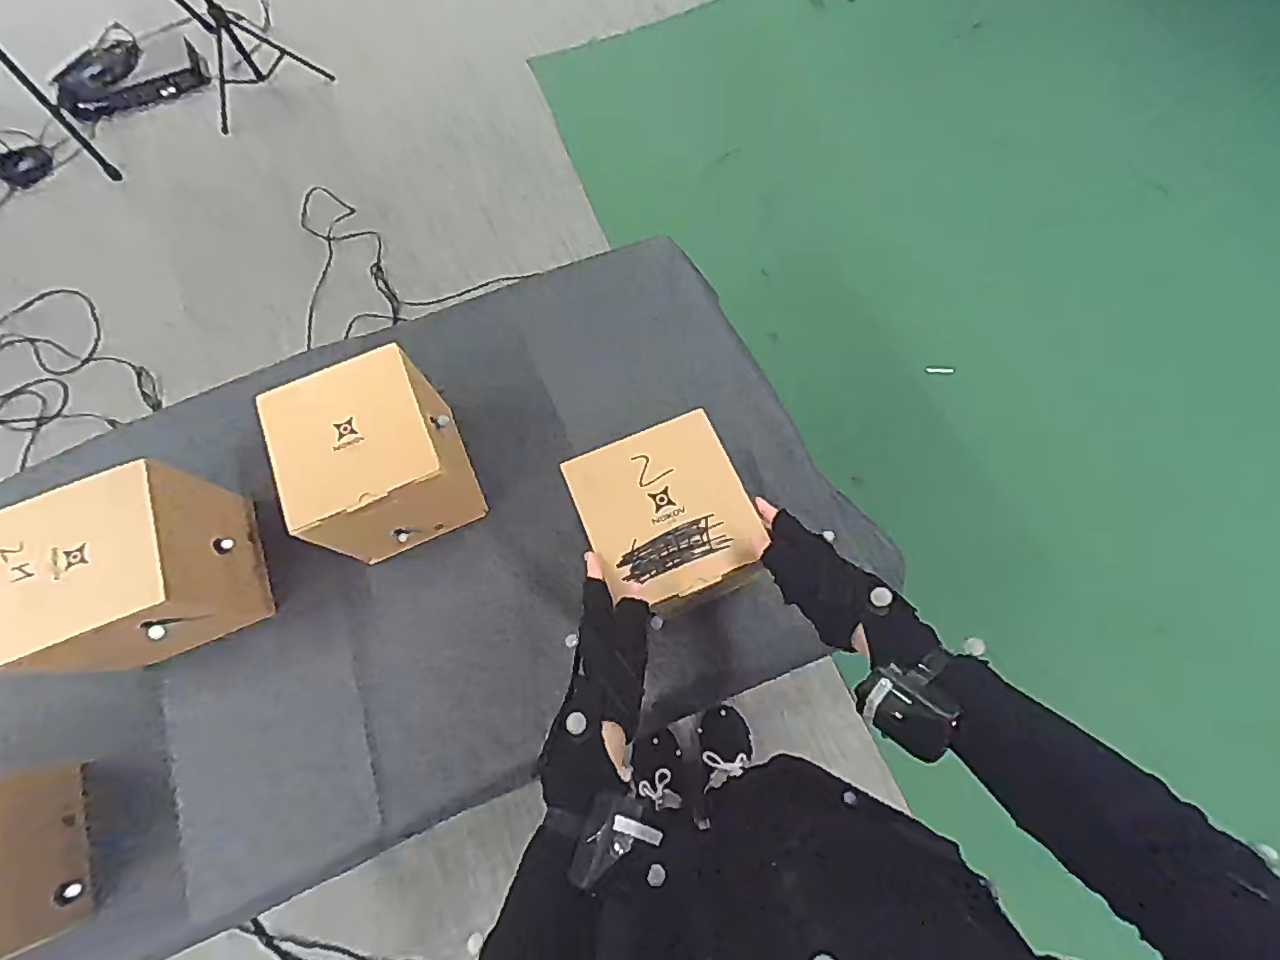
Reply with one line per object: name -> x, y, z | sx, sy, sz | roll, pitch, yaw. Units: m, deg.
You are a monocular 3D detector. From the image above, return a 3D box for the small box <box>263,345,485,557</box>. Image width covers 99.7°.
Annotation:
small box -> -0.311, -0.026, 0.661 | 0.168, 0.176, 0.179 | -23, 73, -6

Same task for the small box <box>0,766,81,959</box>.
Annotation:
small box -> -0.702, 0.404, 0.522 | 0.179, 0.176, 0.168 | -24, 72, -6

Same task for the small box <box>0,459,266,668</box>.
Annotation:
small box -> -0.568, 0.101, 0.621 | 0.179, 0.176, 0.168 | -22, 73, -6
